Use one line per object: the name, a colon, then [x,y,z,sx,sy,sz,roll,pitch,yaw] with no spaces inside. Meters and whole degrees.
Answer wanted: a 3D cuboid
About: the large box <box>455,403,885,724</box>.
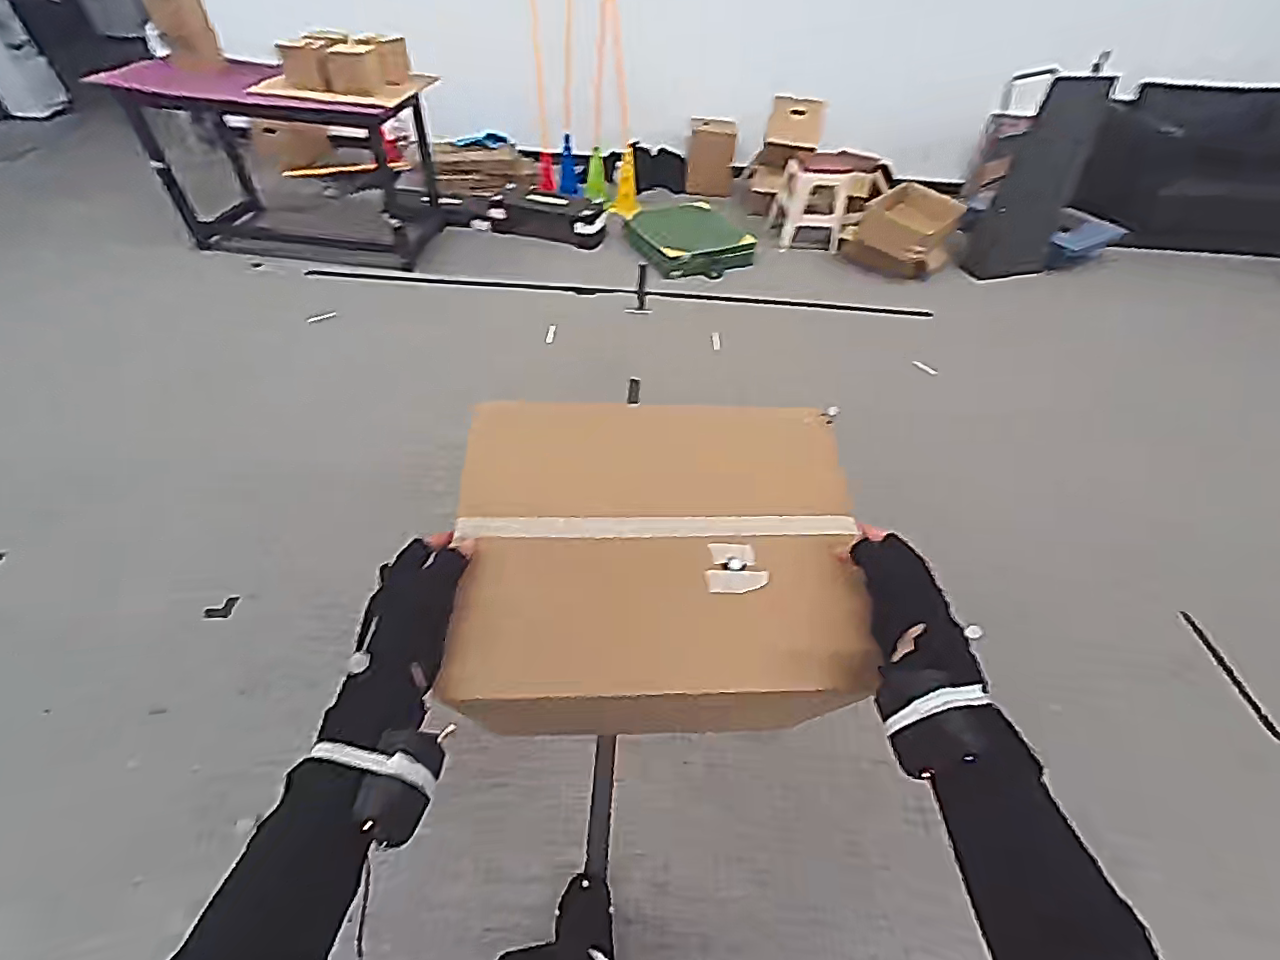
large box: [0.014,0.118,0.688,0.408,0.320,0.320,1,60,-5]
